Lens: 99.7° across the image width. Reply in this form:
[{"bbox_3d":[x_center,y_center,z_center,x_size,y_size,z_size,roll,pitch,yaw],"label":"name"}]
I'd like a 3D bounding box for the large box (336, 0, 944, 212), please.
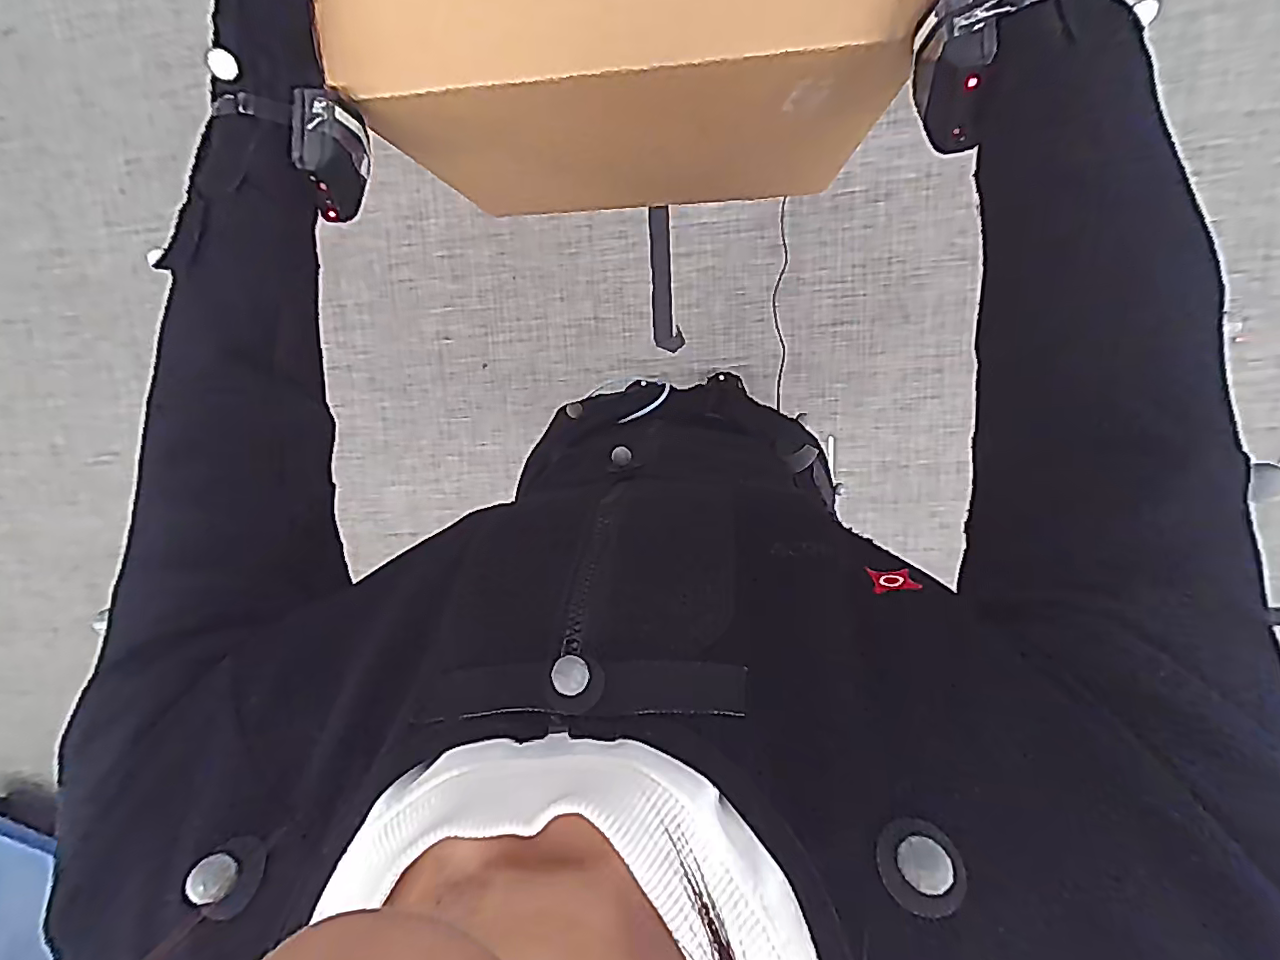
[{"bbox_3d":[-0.004,-0.456,0.475,0.408,0.320,0.320,-2,102,5],"label":"large box"}]
